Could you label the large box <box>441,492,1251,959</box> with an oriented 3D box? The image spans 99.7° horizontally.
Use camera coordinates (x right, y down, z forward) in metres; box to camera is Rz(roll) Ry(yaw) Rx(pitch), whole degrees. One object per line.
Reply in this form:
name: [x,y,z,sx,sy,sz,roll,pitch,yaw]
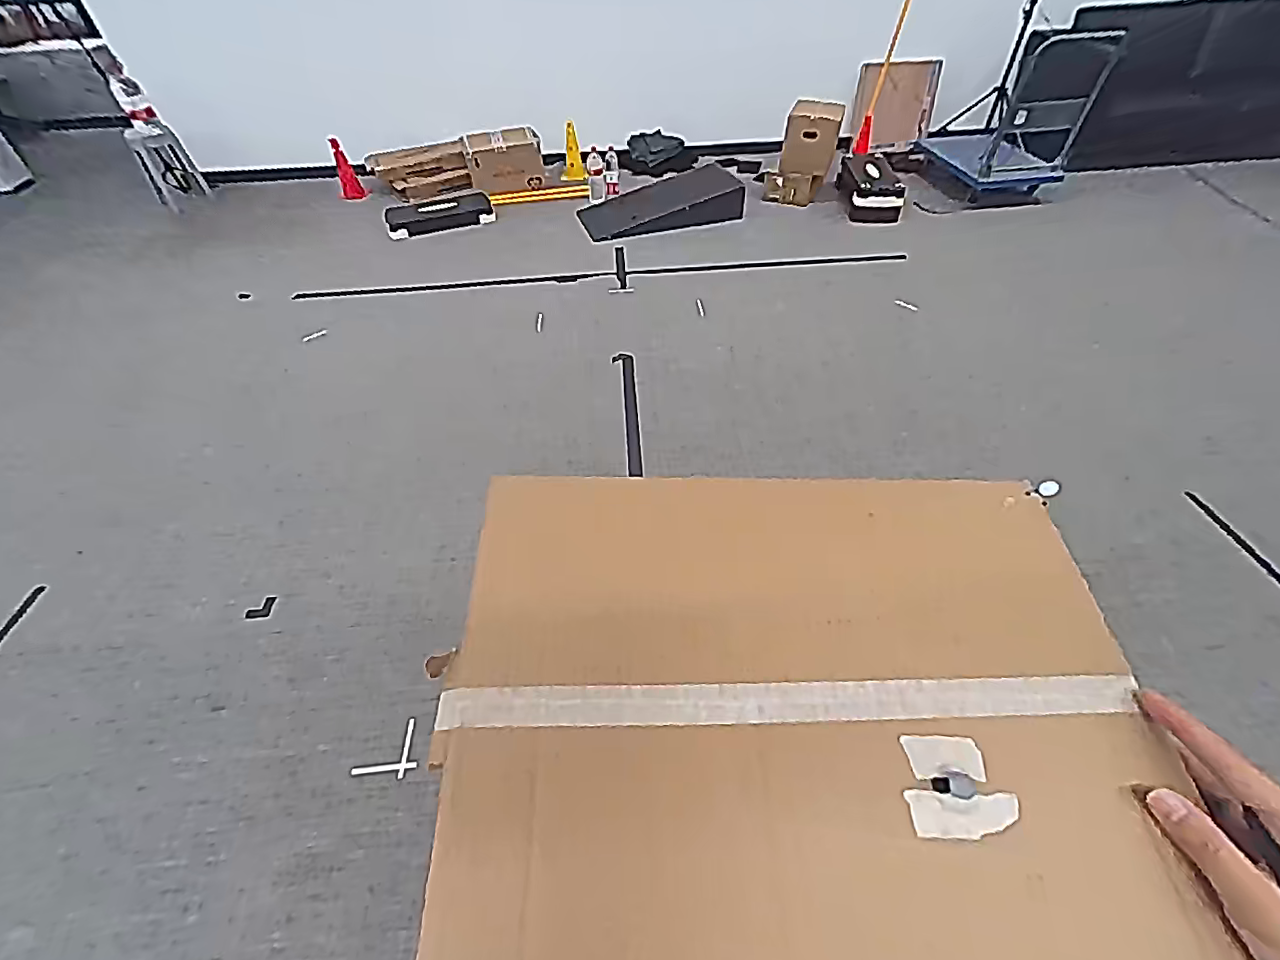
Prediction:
large box: [0.089,0.220,0.445,0.408,0.320,0.320,0,56,-4]
